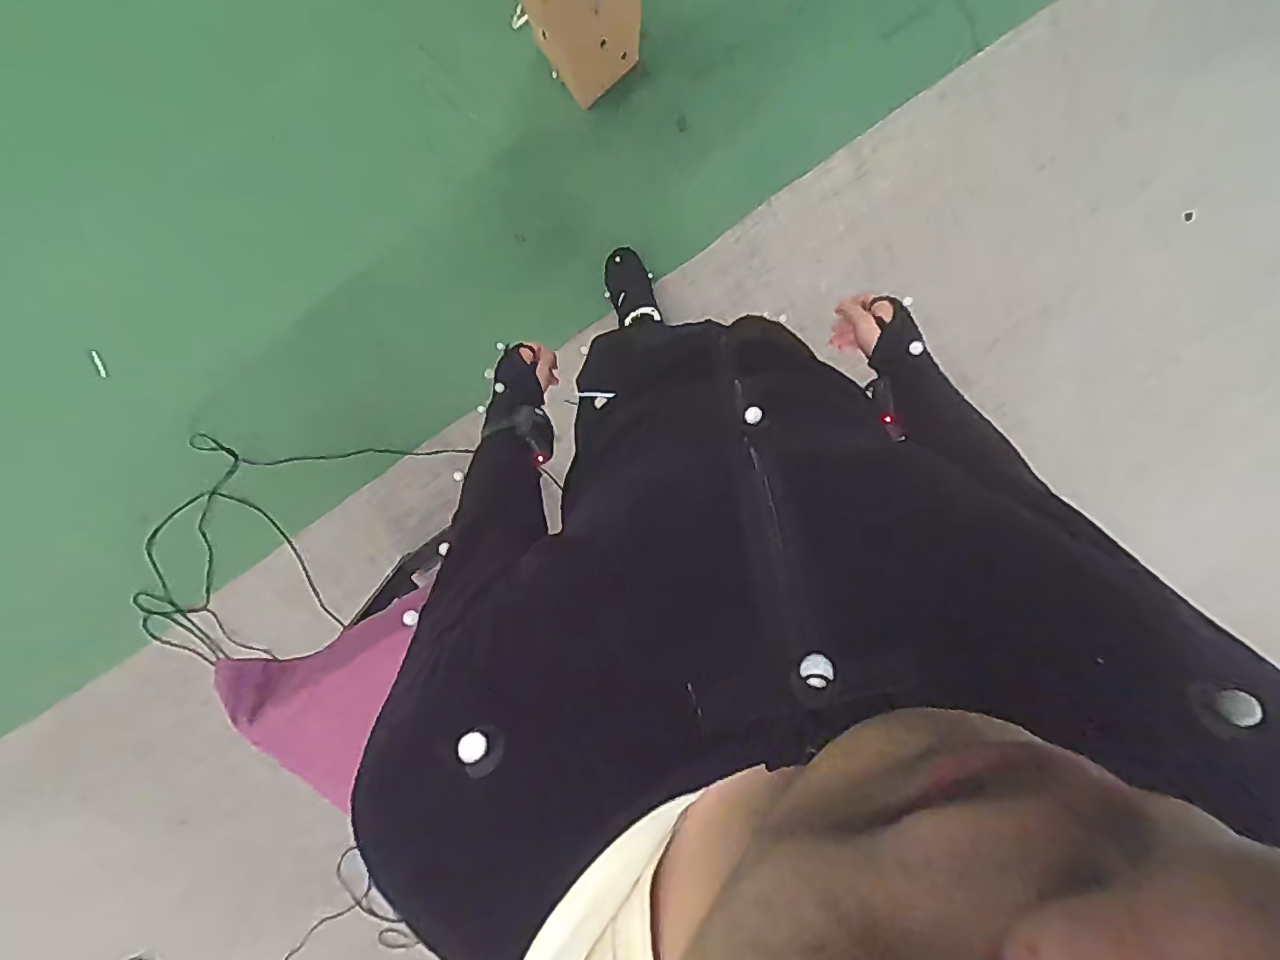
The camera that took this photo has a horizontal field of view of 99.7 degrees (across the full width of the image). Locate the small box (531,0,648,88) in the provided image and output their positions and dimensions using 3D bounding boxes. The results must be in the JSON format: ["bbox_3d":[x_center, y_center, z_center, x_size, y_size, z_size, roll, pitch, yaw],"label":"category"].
[{"bbox_3d":[-0.103,-0.924,1.059,0.179,0.176,0.168,-34,108,12],"label":"small box"}]

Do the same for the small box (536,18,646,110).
[{"bbox_3d":[-0.106,-0.980,1.210,0.179,0.176,0.168,-36,107,11],"label":"small box"}]
